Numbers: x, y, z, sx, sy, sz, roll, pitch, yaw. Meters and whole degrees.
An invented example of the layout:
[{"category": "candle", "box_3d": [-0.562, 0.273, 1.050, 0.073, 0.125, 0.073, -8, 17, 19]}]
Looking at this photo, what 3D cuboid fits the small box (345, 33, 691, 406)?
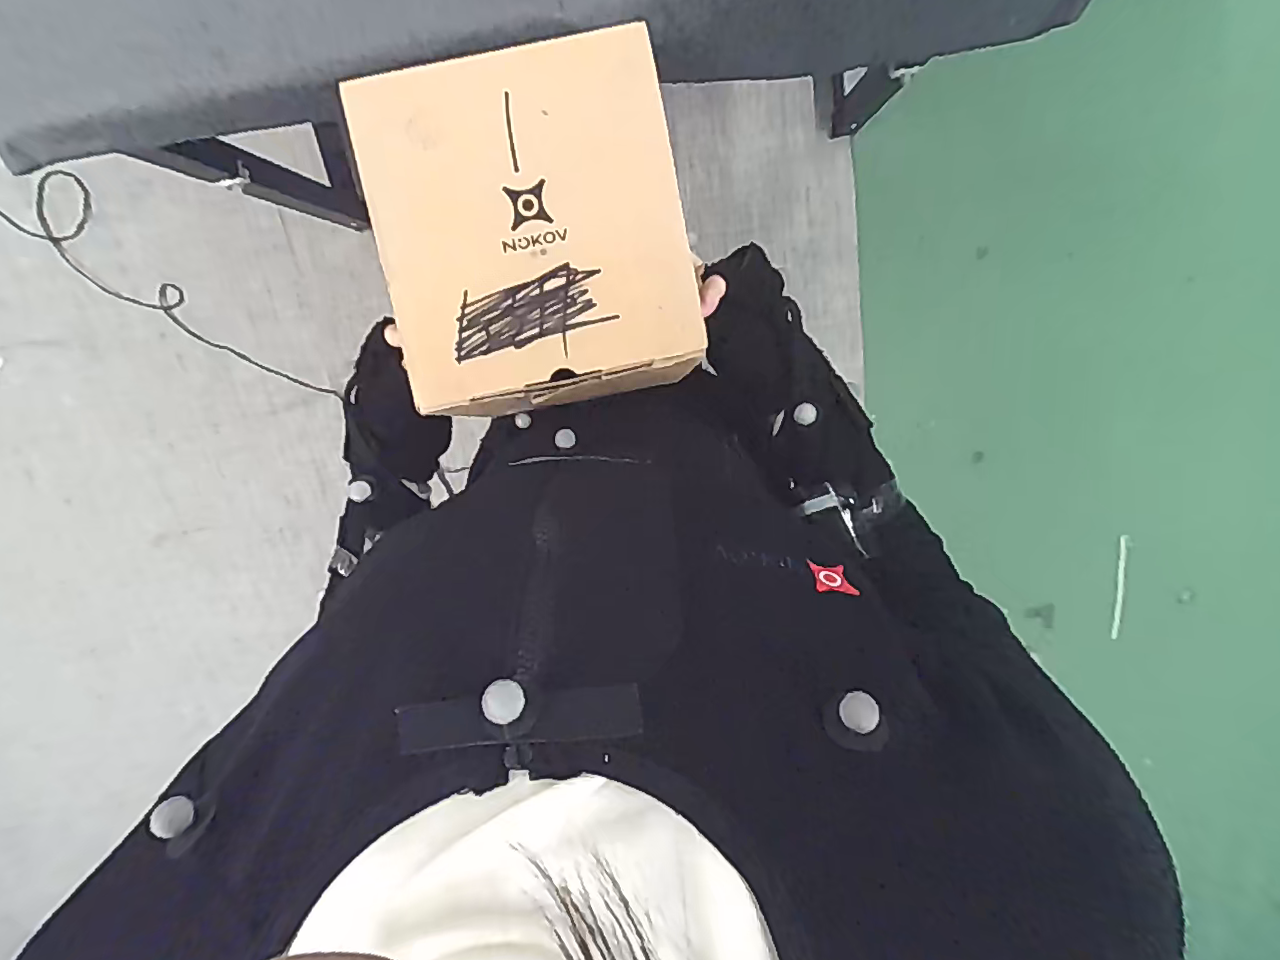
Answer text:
[{"category": "small box", "box_3d": [-0.065, -0.150, 0.377, 0.168, 0.176, 0.179, -11, 95, -1]}]
